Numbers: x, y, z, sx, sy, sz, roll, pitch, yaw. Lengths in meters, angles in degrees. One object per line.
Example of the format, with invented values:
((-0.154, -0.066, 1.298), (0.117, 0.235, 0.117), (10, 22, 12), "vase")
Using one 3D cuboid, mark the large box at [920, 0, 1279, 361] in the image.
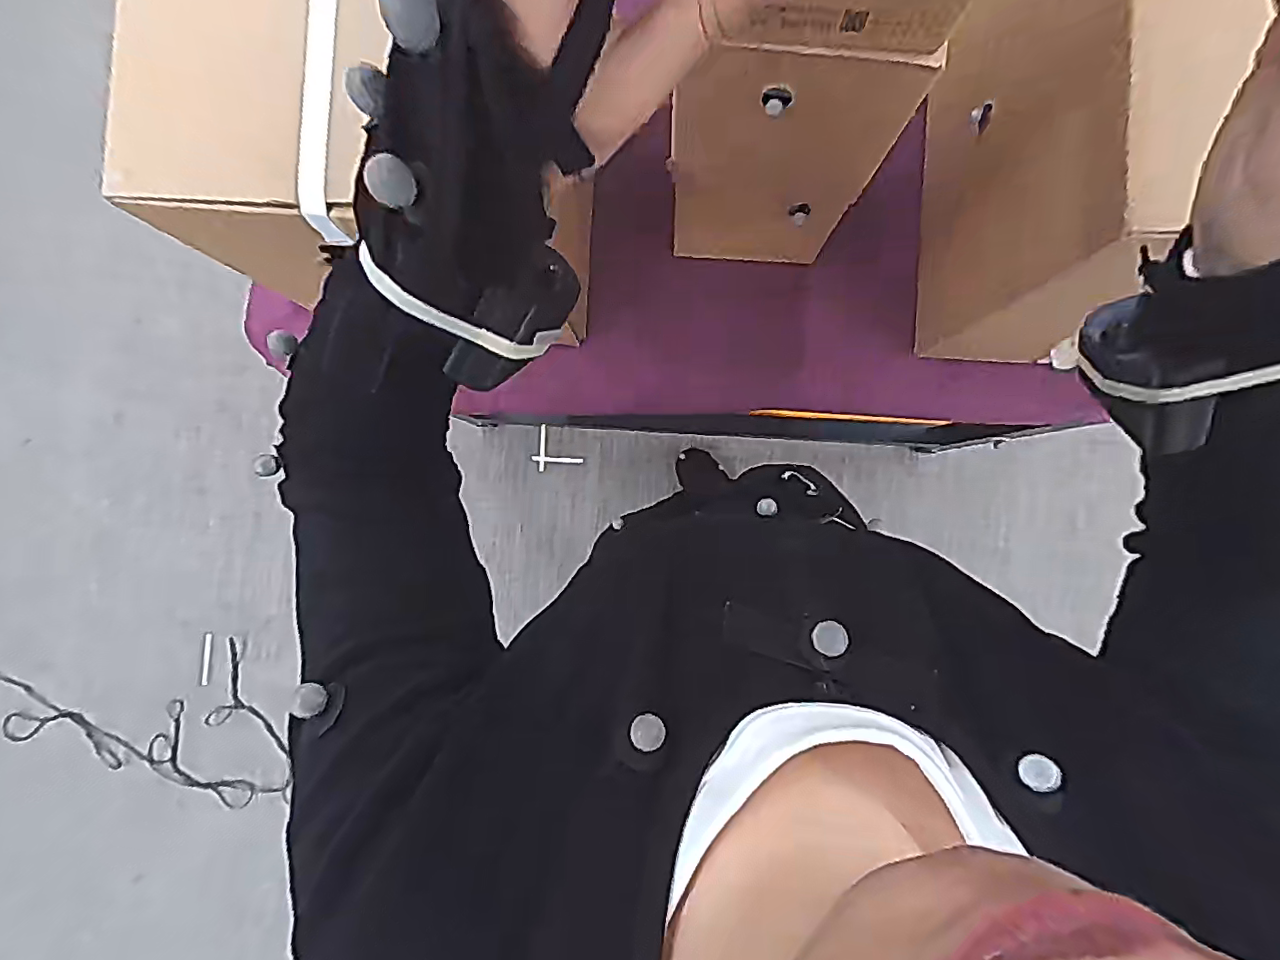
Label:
((0.486, -0.346, 0.505), (0.320, 0.320, 0.408), (3, 87, 2), "large box")
